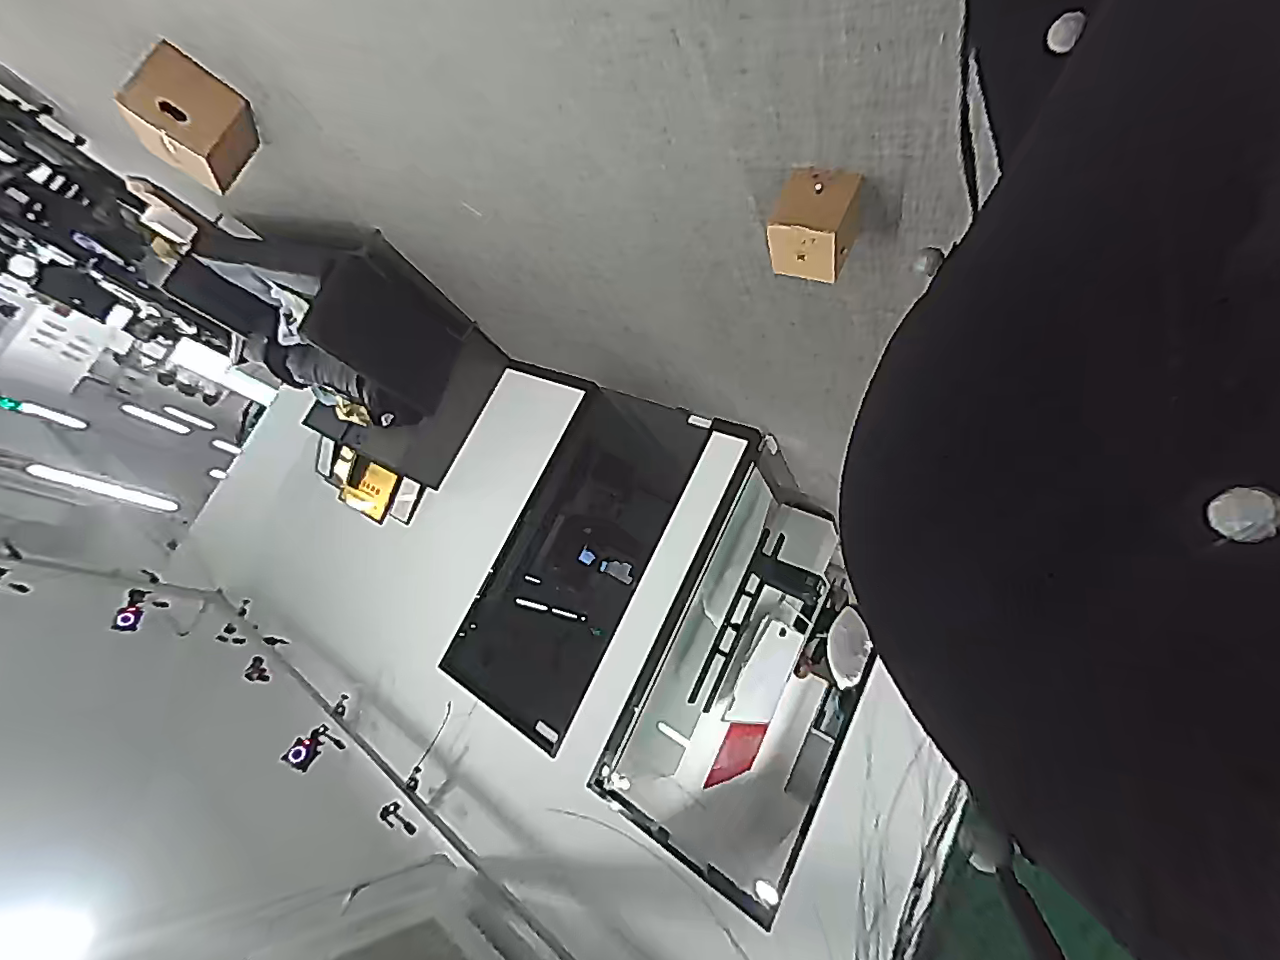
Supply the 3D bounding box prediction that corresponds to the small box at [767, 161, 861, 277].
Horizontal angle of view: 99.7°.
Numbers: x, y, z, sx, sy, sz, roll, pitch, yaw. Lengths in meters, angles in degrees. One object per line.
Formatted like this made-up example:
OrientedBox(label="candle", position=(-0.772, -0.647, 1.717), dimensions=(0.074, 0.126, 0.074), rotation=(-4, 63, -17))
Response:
OrientedBox(label="small box", position=(0.426, -0.632, 1.316), dimensions=(0.168, 0.176, 0.179), rotation=(22, 170, 25))
